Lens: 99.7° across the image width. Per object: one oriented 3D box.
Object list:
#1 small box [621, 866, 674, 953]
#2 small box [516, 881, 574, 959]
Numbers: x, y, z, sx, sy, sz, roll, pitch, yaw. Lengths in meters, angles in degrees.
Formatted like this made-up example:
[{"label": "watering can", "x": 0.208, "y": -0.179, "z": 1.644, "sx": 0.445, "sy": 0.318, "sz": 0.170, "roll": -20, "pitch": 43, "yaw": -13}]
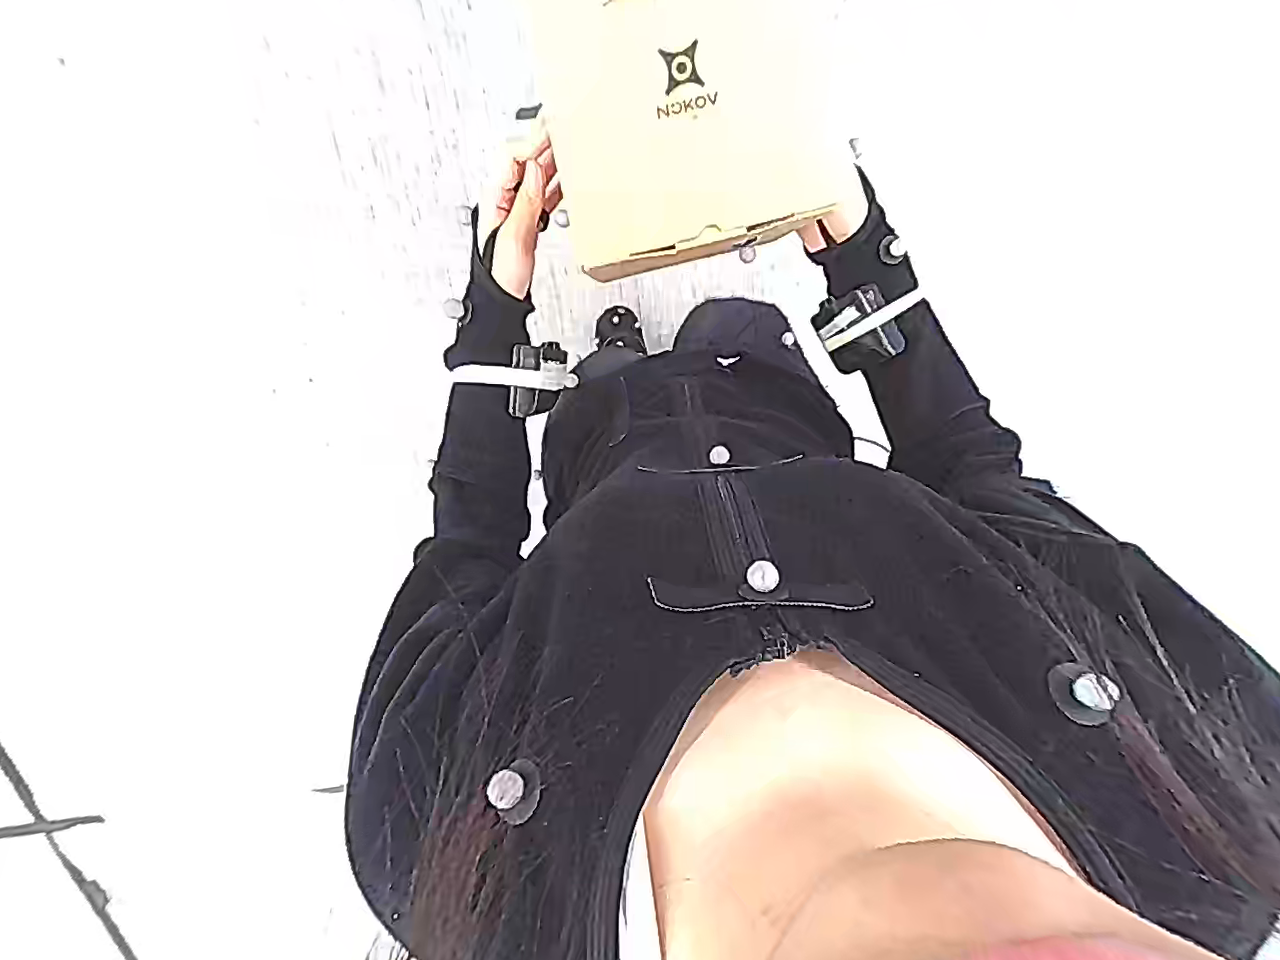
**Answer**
[{"label": "small box", "x": 0.024, "y": 1.523, "z": 1.922, "sx": 0.168, "sy": 0.176, "sz": 0.179, "roll": -8, "pitch": 108, "yaw": -3}, {"label": "small box", "x": -0.331, "y": 1.553, "z": 1.902, "sx": 0.179, "sy": 0.176, "sz": 0.168, "roll": 9, "pitch": 106, "yaw": -9}]
